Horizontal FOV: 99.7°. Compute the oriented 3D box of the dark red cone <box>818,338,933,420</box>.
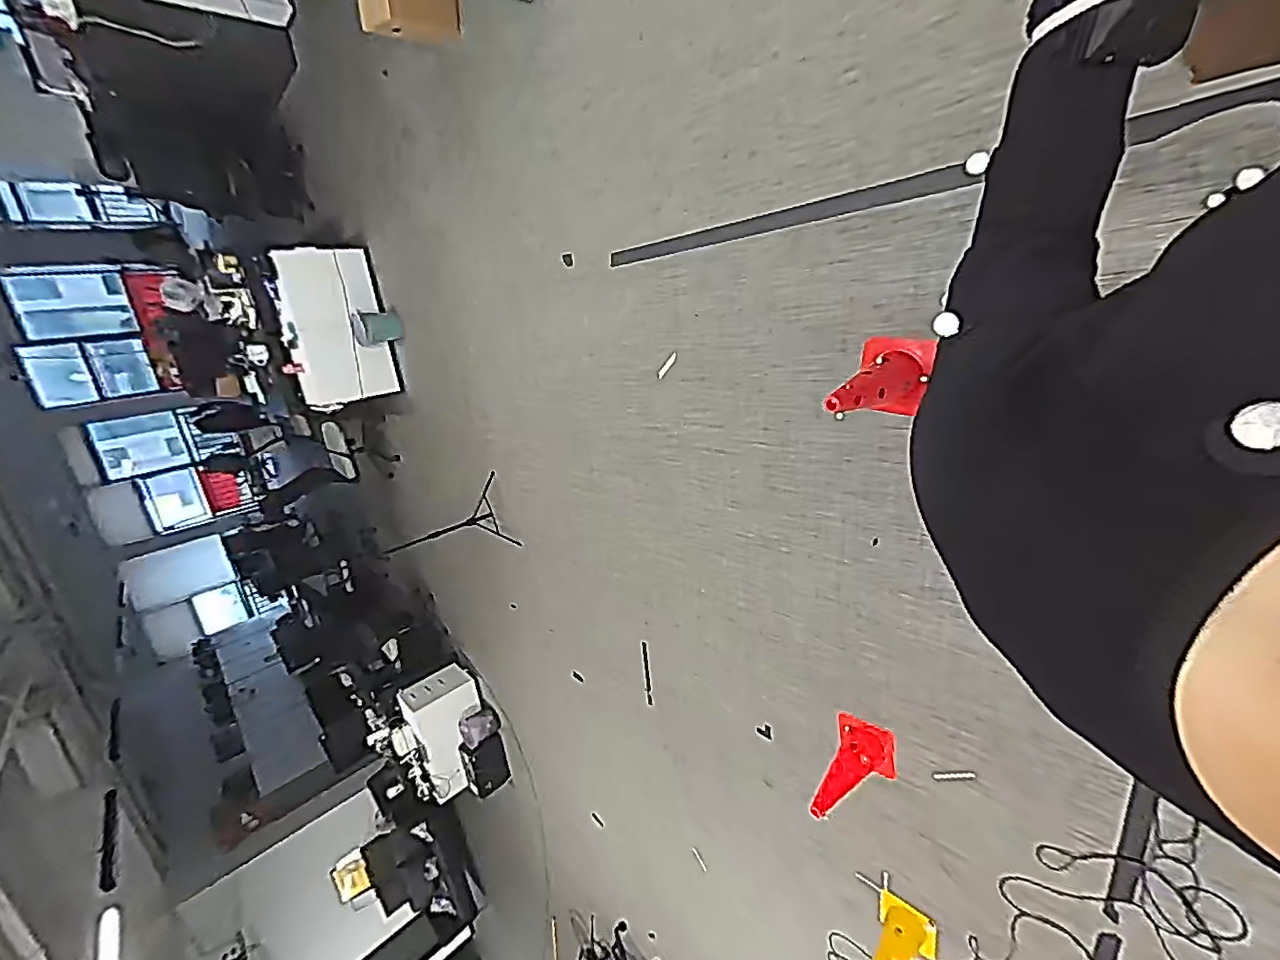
[{"bbox_3d":[0.550,-0.223,1.333,0.201,0.394,0.202,19,120,42],"label":"dark red cone"}]

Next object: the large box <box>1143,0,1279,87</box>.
[{"bbox_3d":[0.558,-0.466,0.268,0.408,0.320,0.320,14,117,45],"label":"large box"}]

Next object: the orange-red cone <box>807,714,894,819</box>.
[{"bbox_3d":[0.666,0.988,1.794,0.198,0.360,0.199,10,115,48],"label":"orange-red cone"}]
